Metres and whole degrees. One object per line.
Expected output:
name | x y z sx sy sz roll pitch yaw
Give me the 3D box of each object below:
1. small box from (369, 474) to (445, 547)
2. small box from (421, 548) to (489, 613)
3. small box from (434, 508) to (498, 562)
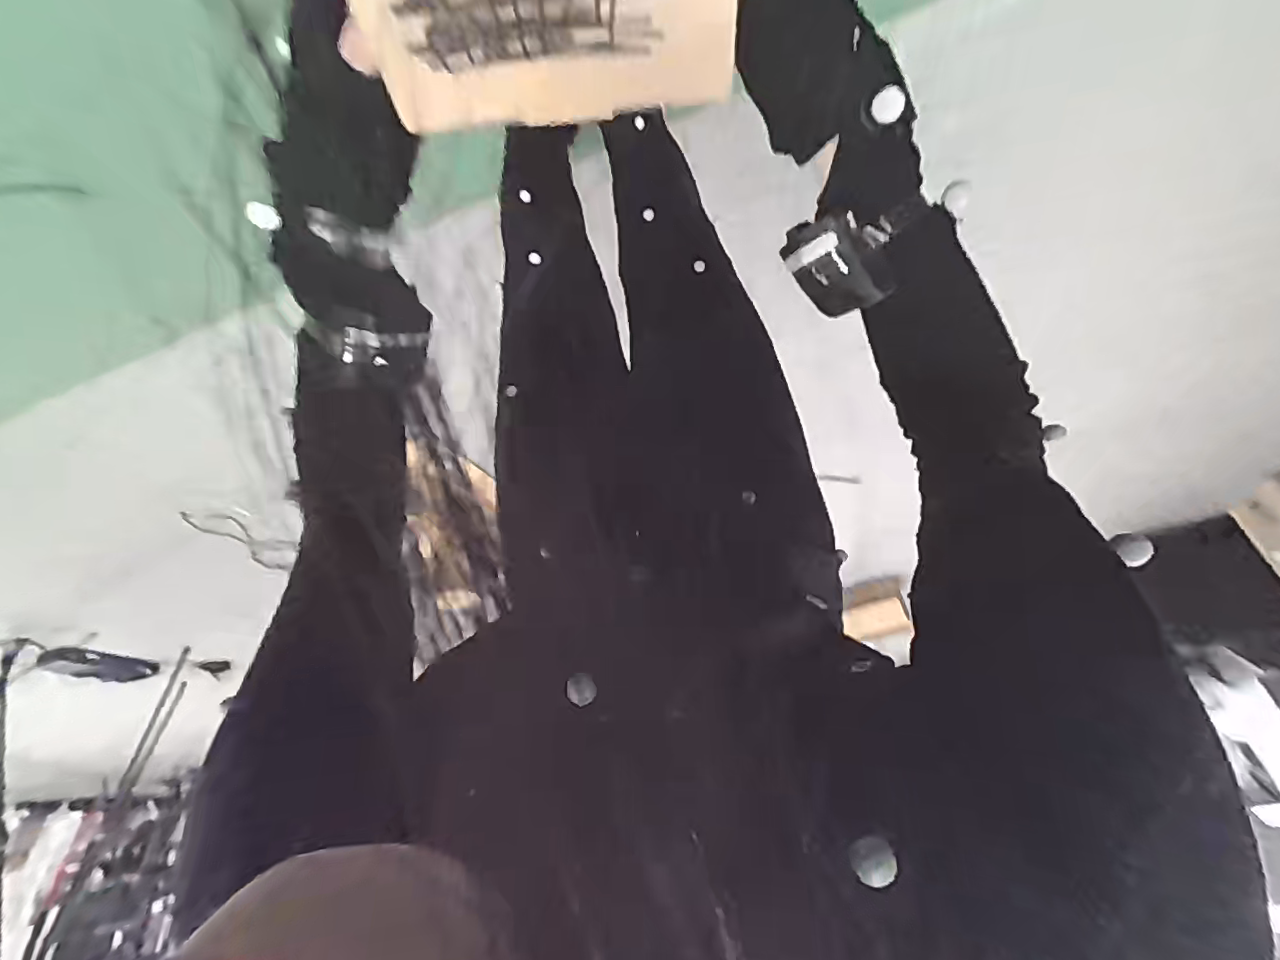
small box | -0.785 0.104 1.844 0.179 0.176 0.168 -16 149 11
small box | -0.671 0.369 1.984 0.179 0.176 0.168 -18 147 15
small box | -0.664 0.224 2.064 0.179 0.176 0.168 -19 147 17
